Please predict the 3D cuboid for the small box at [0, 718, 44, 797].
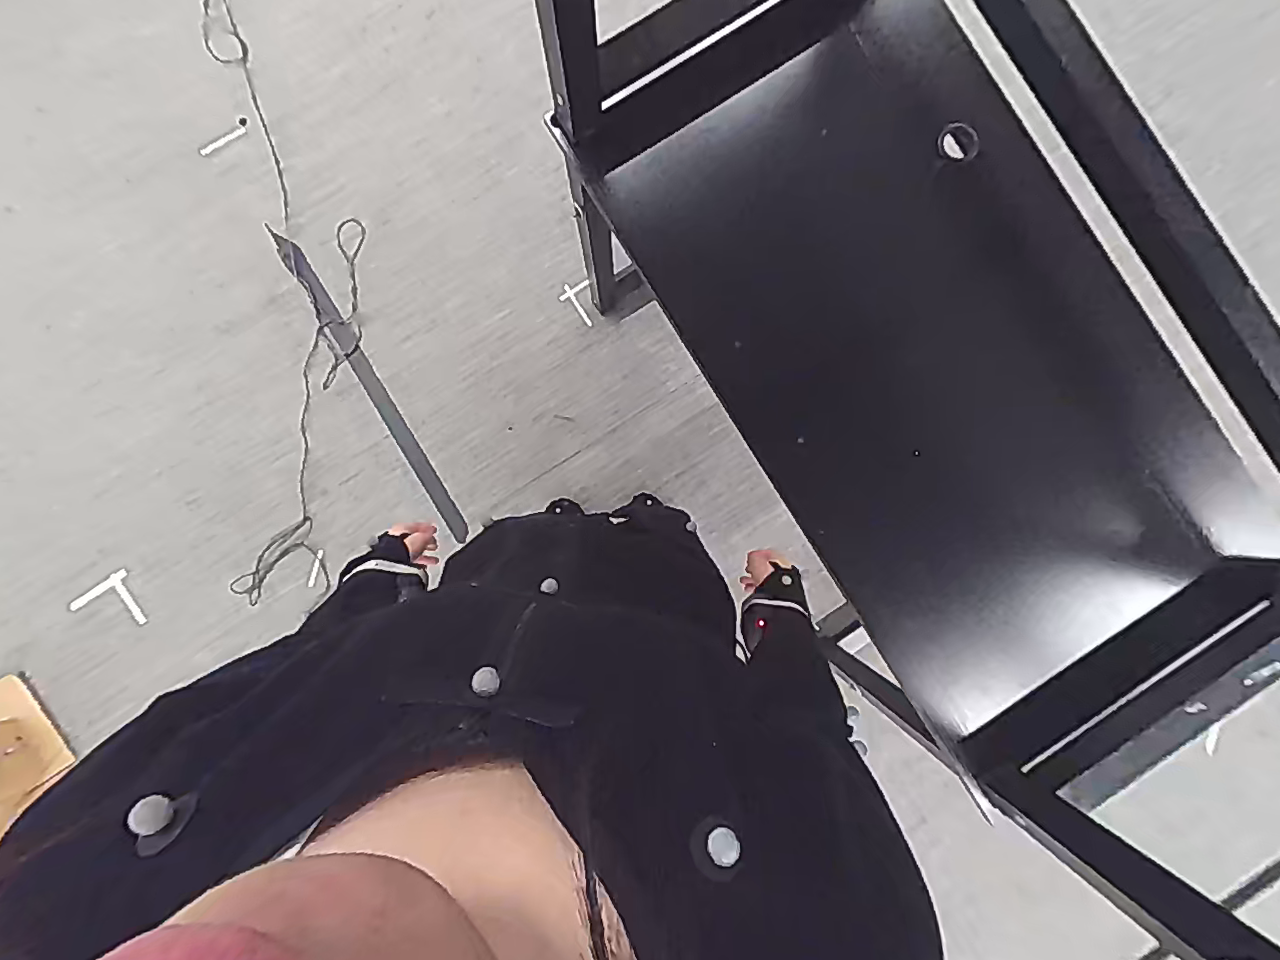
[{"bbox_3d":[-1.684,0.737,1.350,0.179,0.176,0.168,-33,90,-3],"label":"small box"}]
